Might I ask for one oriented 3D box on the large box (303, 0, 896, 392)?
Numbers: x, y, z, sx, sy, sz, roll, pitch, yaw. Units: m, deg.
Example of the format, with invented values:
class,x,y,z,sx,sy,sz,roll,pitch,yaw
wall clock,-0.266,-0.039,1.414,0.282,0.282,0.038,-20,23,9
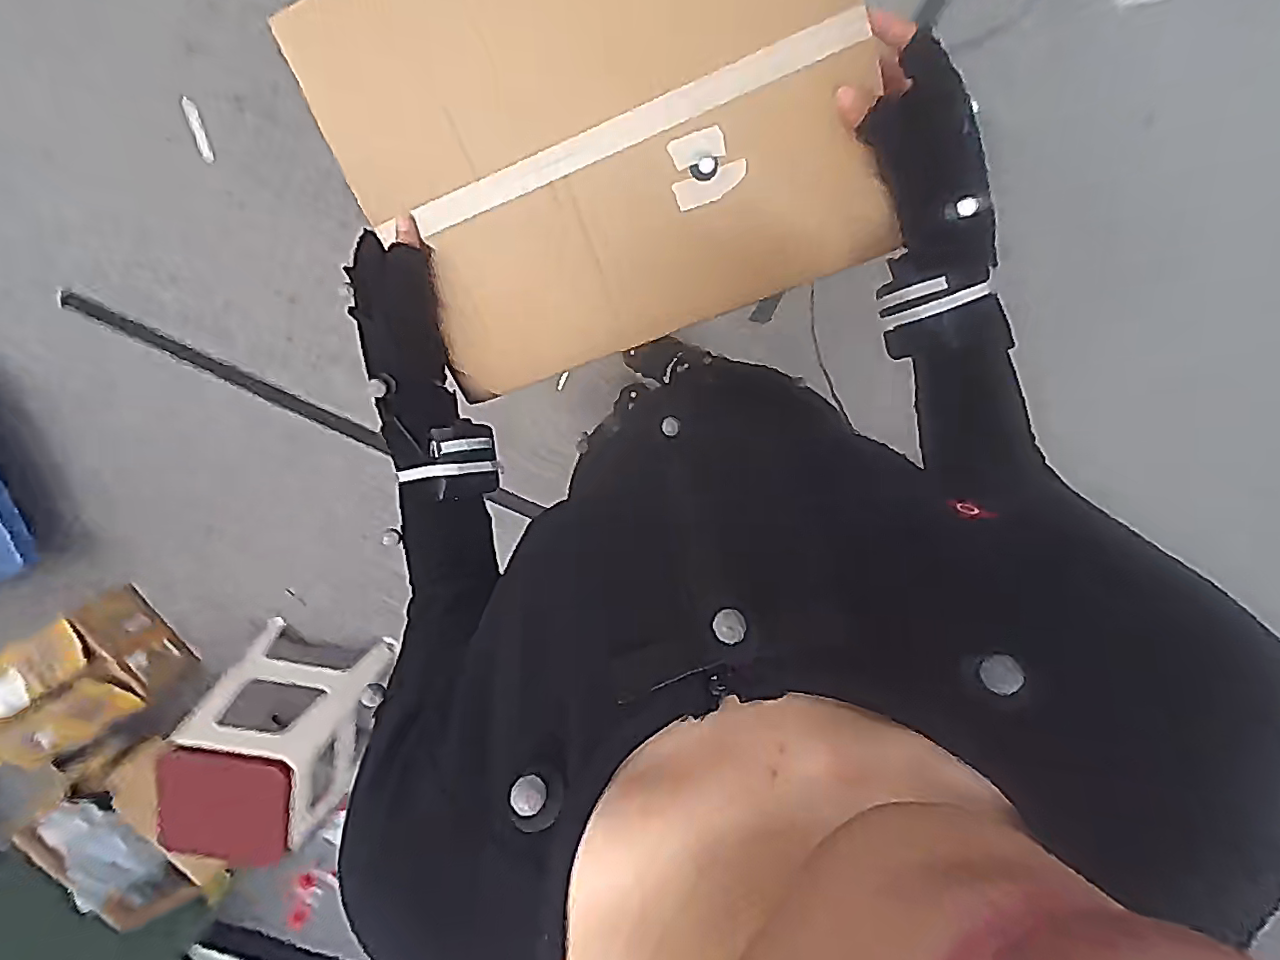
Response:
class,x,y,z,sx,sy,sz,roll,pitch,yaw
large box,-0.018,-0.332,0.564,0.408,0.320,0.320,-17,113,9
